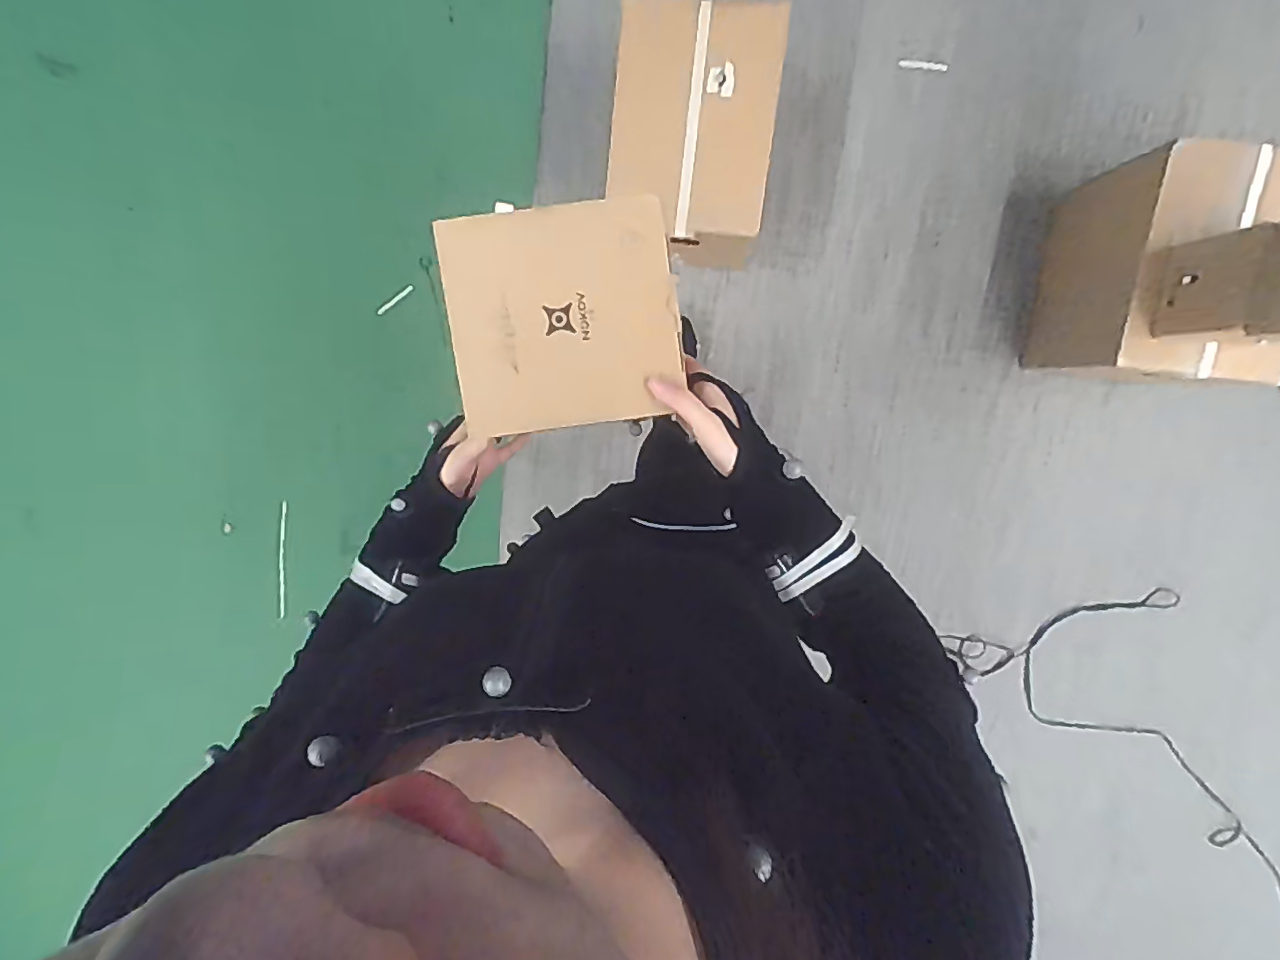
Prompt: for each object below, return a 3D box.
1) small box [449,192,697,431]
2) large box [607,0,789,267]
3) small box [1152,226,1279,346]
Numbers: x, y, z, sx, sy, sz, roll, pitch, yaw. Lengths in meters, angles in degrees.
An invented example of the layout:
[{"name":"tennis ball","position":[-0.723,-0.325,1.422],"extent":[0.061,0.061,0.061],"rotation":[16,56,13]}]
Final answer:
[{"name":"small box","position":[-0.052,-0.137,0.494],"extent":[0.179,0.176,0.168],"rotation":[-7,96,0]},{"name":"large box","position":[0.117,-0.712,1.177],"extent":[0.320,0.320,0.408],"rotation":[8,100,4]},{"name":"small box","position":[1.056,-0.322,0.926],"extent":[0.179,0.176,0.168],"rotation":[6,102,5]}]
